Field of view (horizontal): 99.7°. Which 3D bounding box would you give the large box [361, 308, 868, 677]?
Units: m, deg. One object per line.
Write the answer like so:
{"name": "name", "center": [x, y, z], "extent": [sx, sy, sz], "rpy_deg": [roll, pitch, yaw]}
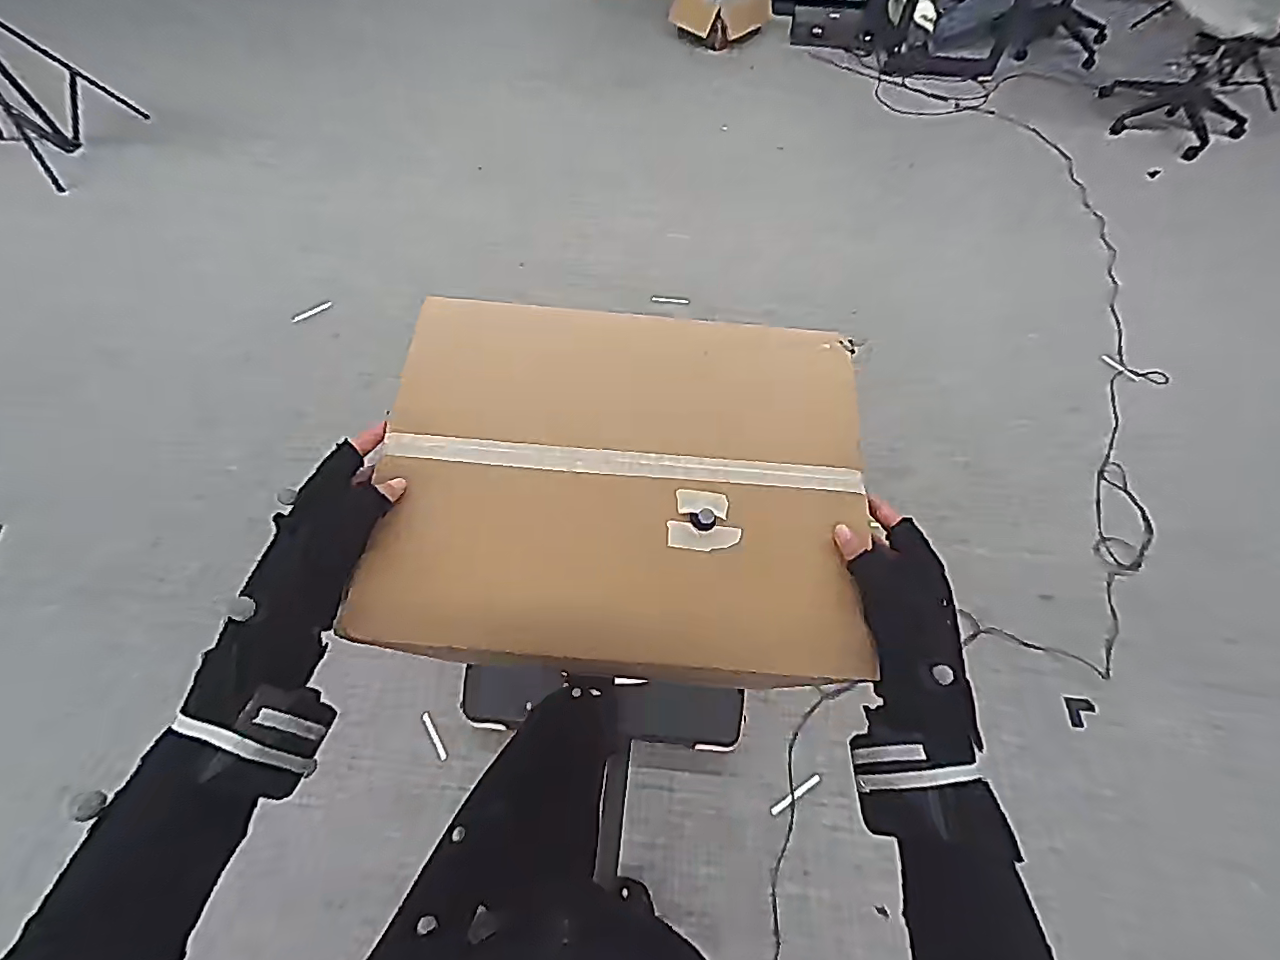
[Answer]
{"name": "large box", "center": [-0.018, 0.042, 0.611], "extent": [0.408, 0.320, 0.320], "rpy_deg": [5, 68, -1]}
